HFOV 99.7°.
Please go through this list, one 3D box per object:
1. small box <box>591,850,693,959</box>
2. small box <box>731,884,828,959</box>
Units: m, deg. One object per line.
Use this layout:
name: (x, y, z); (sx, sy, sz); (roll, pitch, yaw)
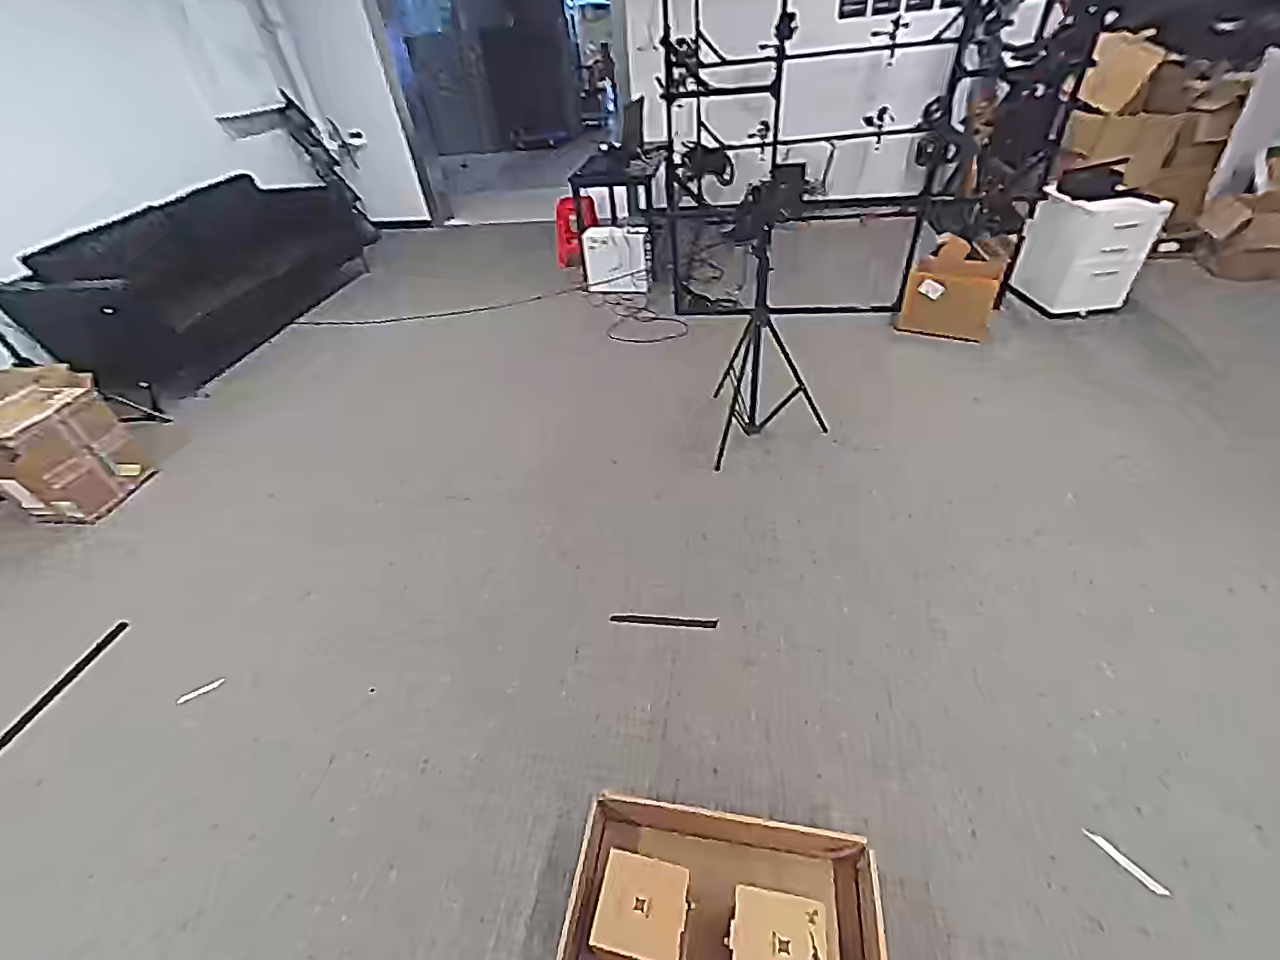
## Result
small box: (0.013, 0.911, 1.128); (0.179, 0.176, 0.168); (5, 41, 13)
small box: (0.272, 0.935, 1.067); (0.179, 0.176, 0.168); (2, 42, 13)
